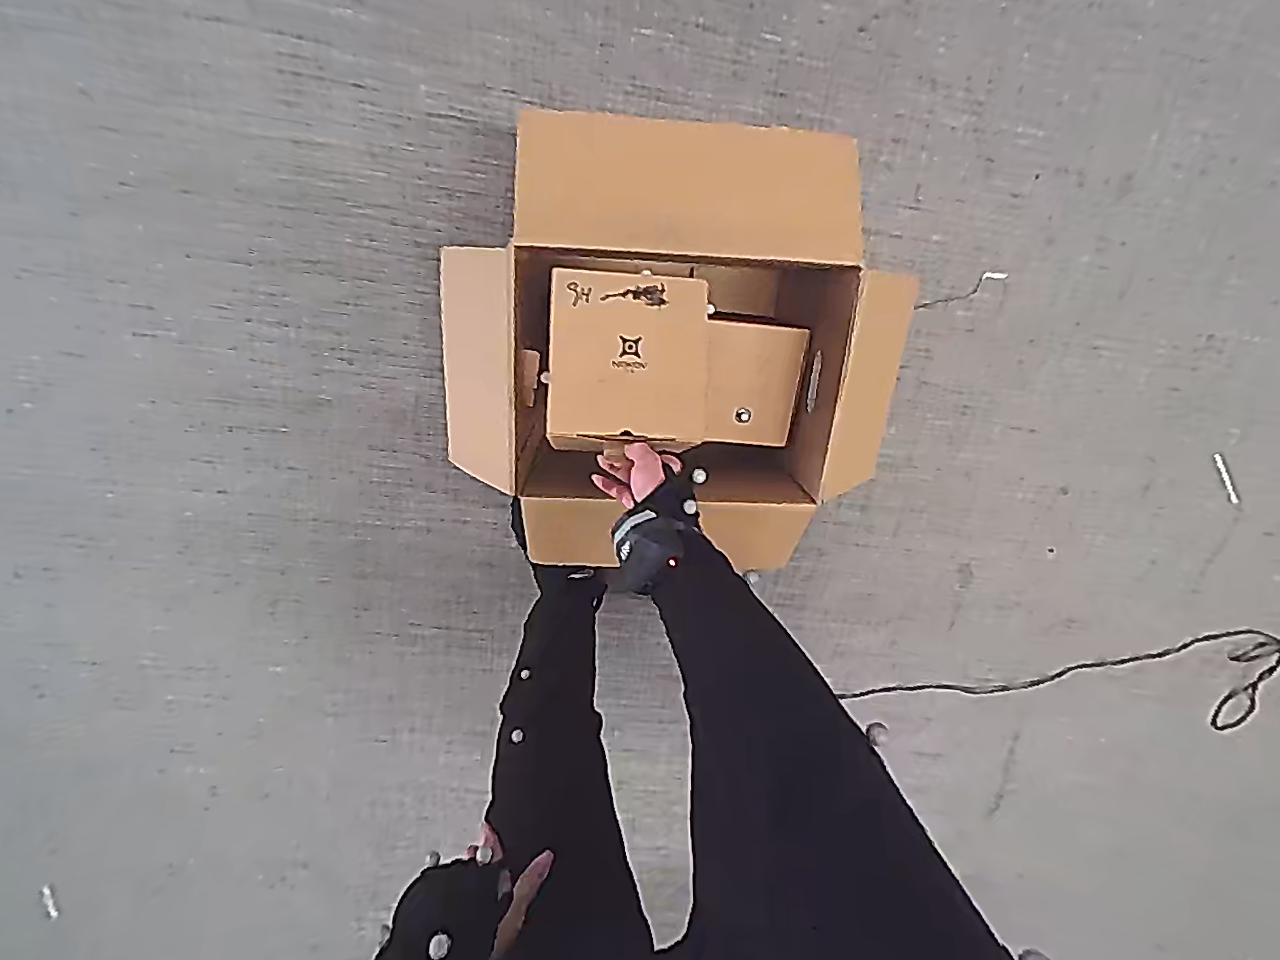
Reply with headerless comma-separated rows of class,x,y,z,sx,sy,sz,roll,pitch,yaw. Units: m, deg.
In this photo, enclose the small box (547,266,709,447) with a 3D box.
small box,-0.019,-0.132,0.648,0.168,0.176,0.179,2,89,-6
